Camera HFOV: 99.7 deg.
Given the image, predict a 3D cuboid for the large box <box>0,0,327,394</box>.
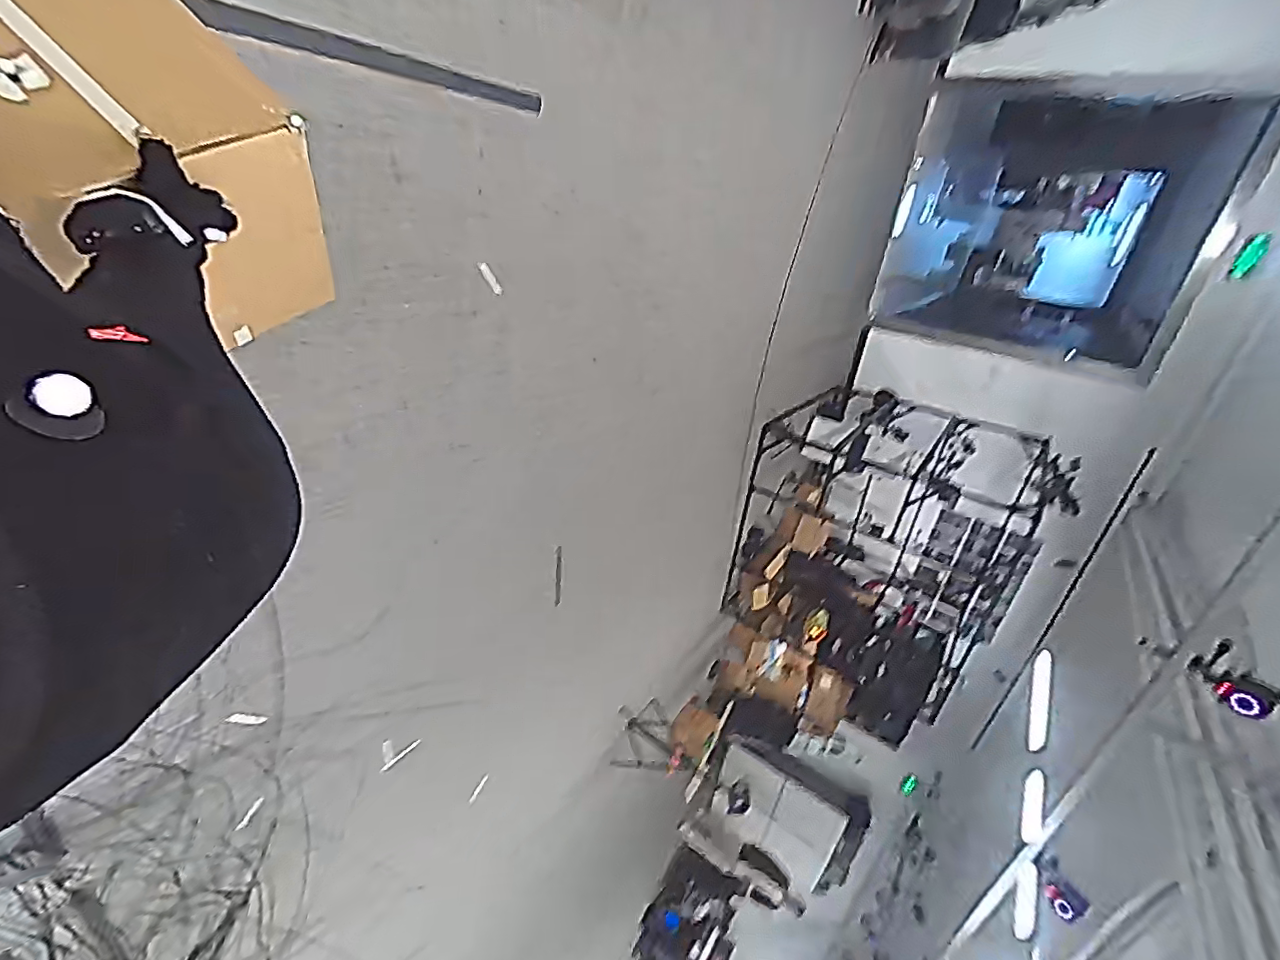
[{"bbox_3d":[-0.688,-0.394,0.688,0.320,0.408,0.320,-46,-179,-31],"label":"large box"}]
